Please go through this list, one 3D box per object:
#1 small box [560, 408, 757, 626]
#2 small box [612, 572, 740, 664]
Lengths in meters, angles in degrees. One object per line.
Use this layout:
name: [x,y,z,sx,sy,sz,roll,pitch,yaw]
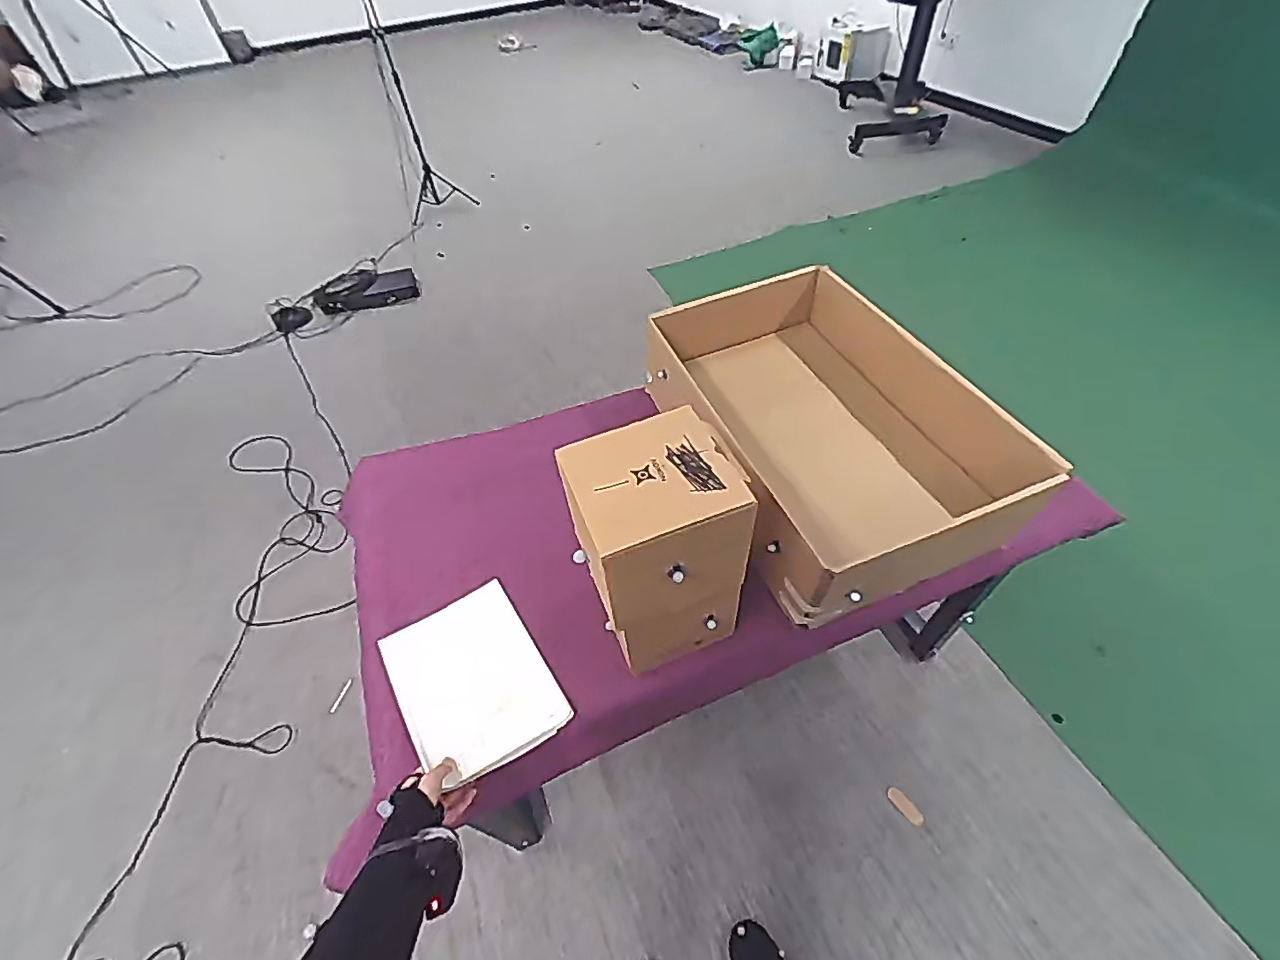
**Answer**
small box: [0.018,0.047,0.652,0.179,0.176,0.168,-19,50,-11]
small box: [0.030,0.144,0.784,0.168,0.176,0.179,-18,50,-11]
